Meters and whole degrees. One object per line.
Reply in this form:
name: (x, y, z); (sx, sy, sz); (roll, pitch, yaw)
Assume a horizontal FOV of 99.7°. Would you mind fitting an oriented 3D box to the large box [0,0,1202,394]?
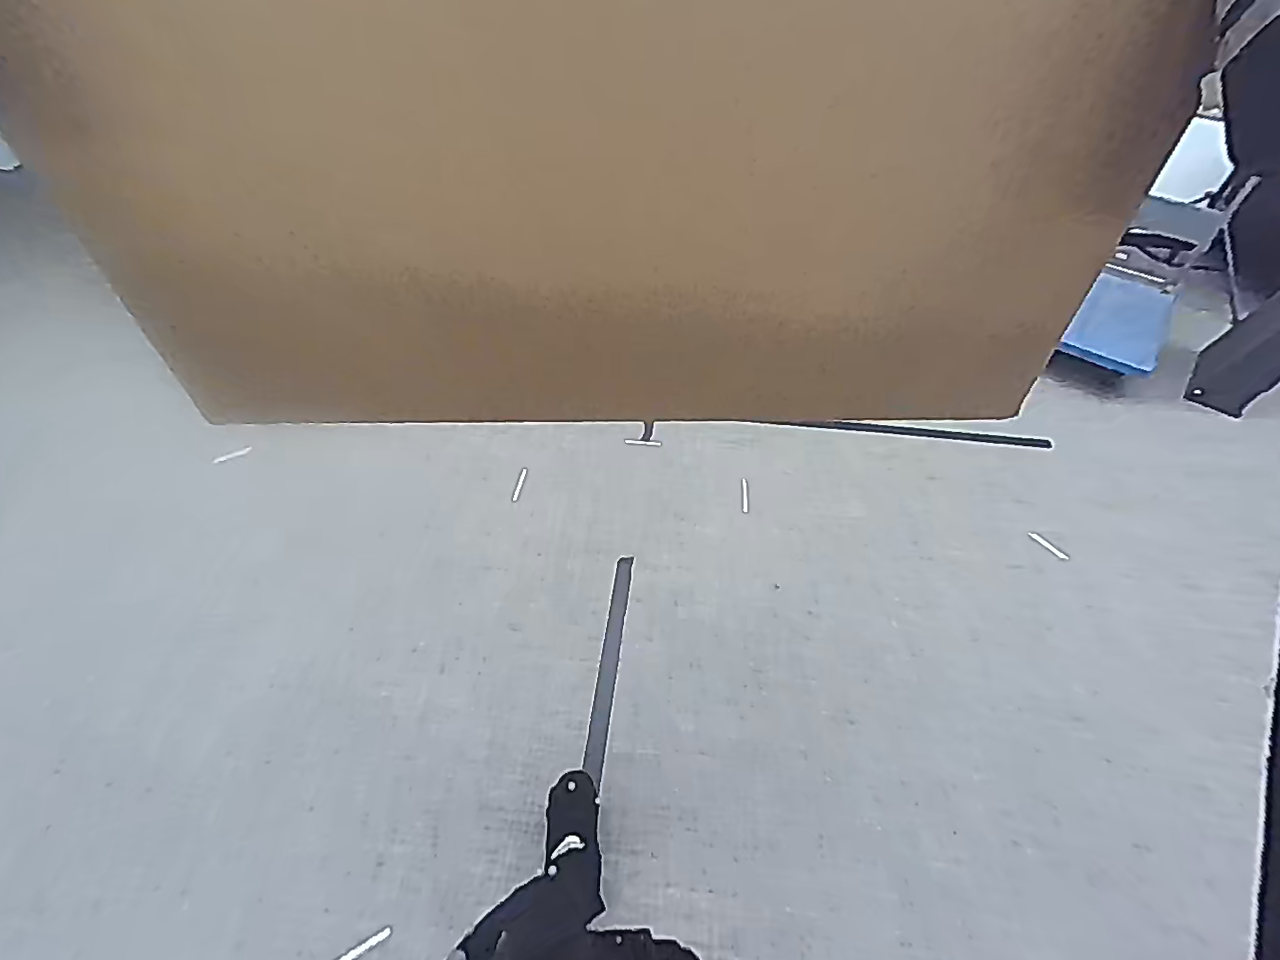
large box: (-0.014, -0.254, 0.284); (0.408, 0.320, 0.320); (0, 44, -1)
